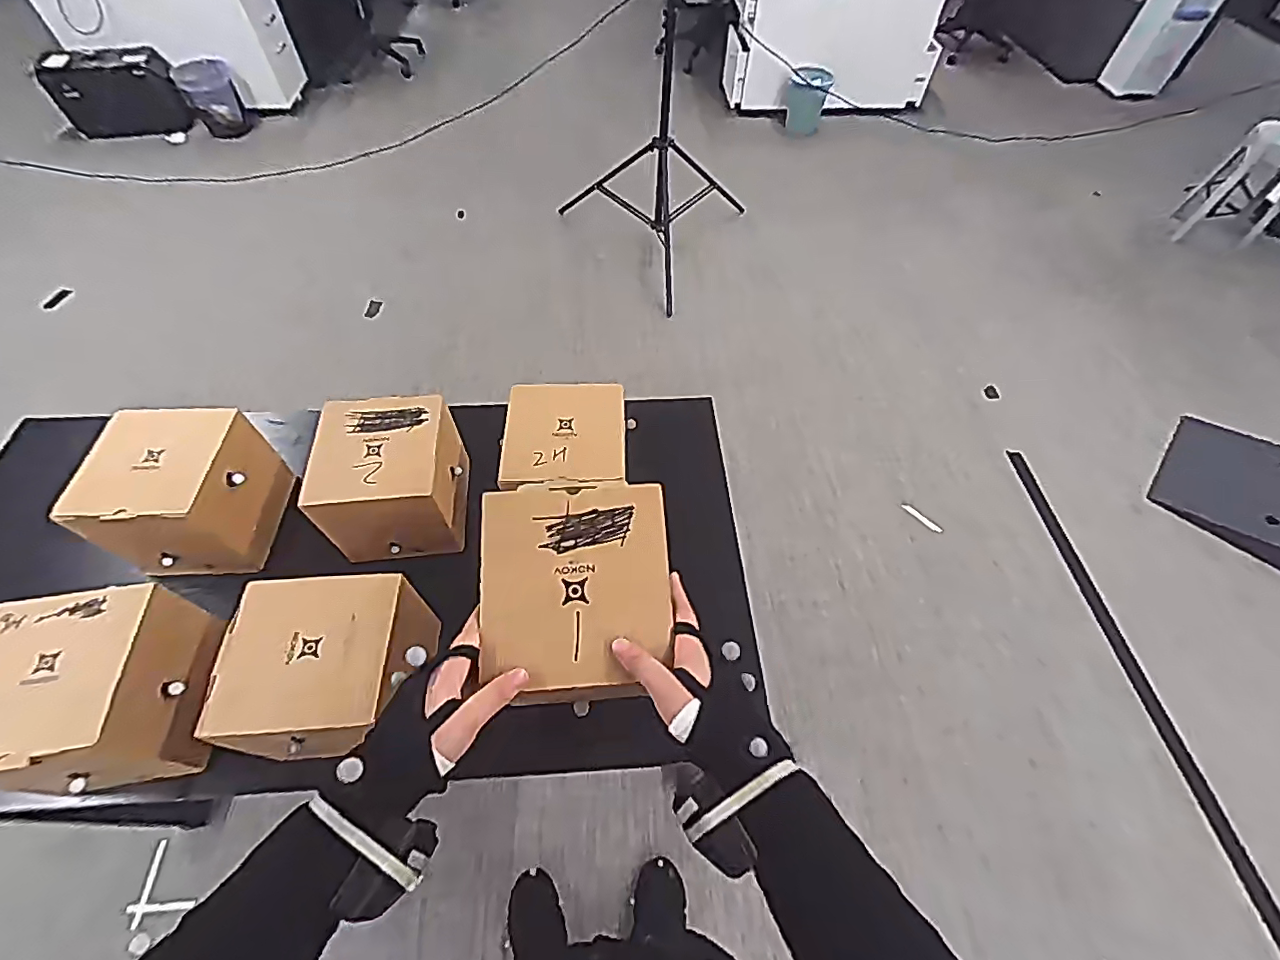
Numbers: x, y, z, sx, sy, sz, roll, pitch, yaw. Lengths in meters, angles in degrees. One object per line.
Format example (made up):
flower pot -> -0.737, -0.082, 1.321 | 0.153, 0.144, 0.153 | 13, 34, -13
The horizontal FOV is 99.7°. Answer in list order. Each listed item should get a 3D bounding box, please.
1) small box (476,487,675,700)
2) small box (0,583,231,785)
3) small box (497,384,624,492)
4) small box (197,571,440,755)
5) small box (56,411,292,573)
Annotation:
small box -> -0.061, 0.121, 0.550 | 0.168, 0.176, 0.179 | -3, 65, -4
small box -> -0.614, 0.241, 0.626 | 0.168, 0.176, 0.179 | -8, 56, -7
small box -> -0.109, -0.025, 0.819 | 0.168, 0.176, 0.179 | -1, 56, -1
small box -> -0.359, 0.222, 0.646 | 0.179, 0.176, 0.168 | -3, 56, -4
small box -> -0.642, 0.019, 0.778 | 0.168, 0.176, 0.179 | -1, 56, -3
